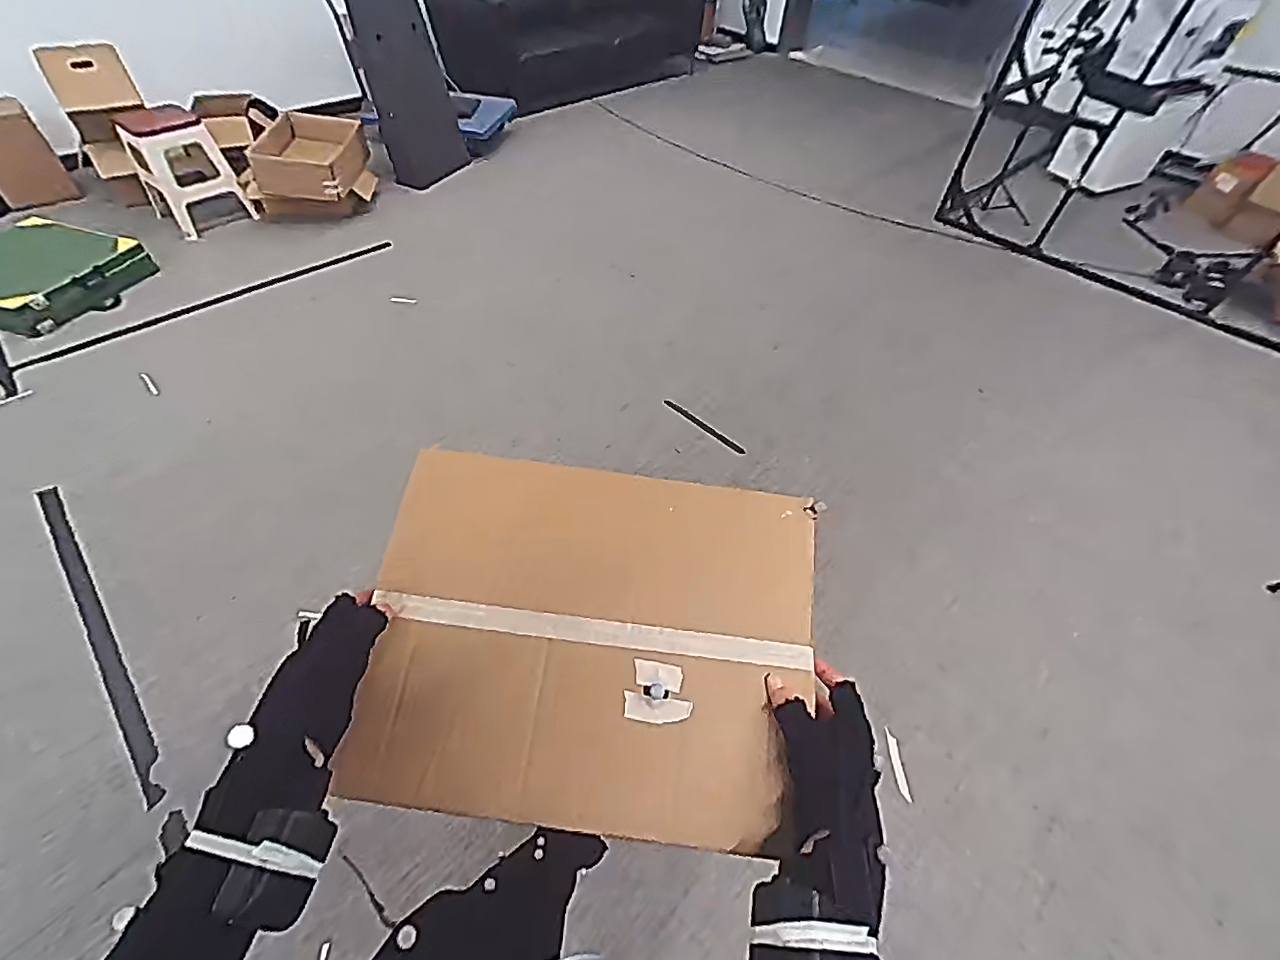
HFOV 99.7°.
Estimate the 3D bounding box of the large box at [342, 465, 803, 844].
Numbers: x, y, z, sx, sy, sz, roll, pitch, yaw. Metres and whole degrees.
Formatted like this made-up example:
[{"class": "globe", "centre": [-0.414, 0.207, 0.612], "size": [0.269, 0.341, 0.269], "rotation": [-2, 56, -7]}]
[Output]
[{"class": "large box", "centre": [-0.050, 0.202, 0.652], "size": [0.408, 0.320, 0.320], "rotation": [8, 69, 1]}]
